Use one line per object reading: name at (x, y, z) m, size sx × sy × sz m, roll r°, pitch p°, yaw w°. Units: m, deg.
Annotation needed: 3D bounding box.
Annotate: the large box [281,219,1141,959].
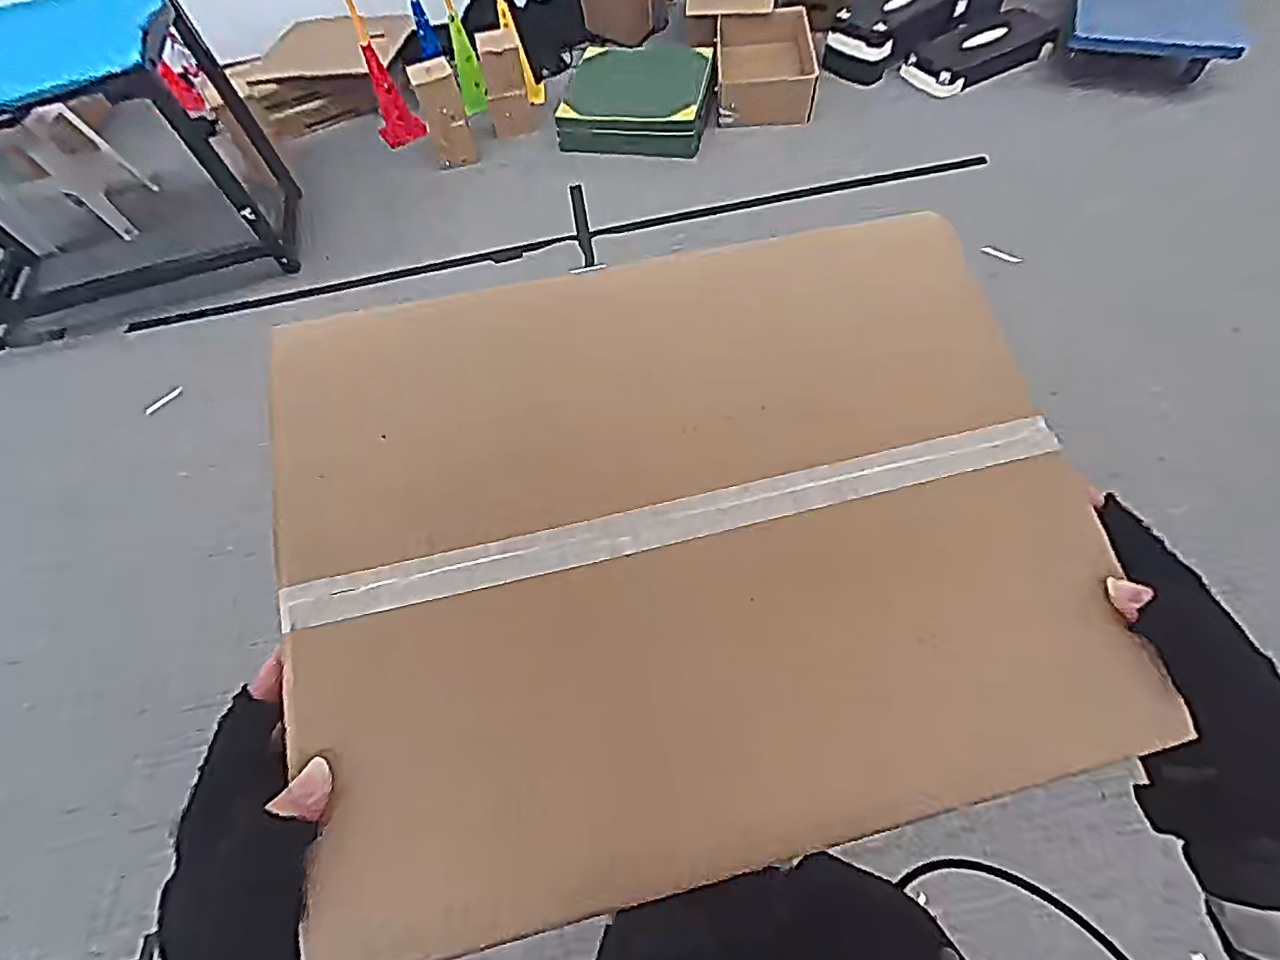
large box at (0.021, 0.061, 0.431) m, size 0.408 × 0.320 × 0.320 m, roll -13°, pitch 74°, yaw -5°
